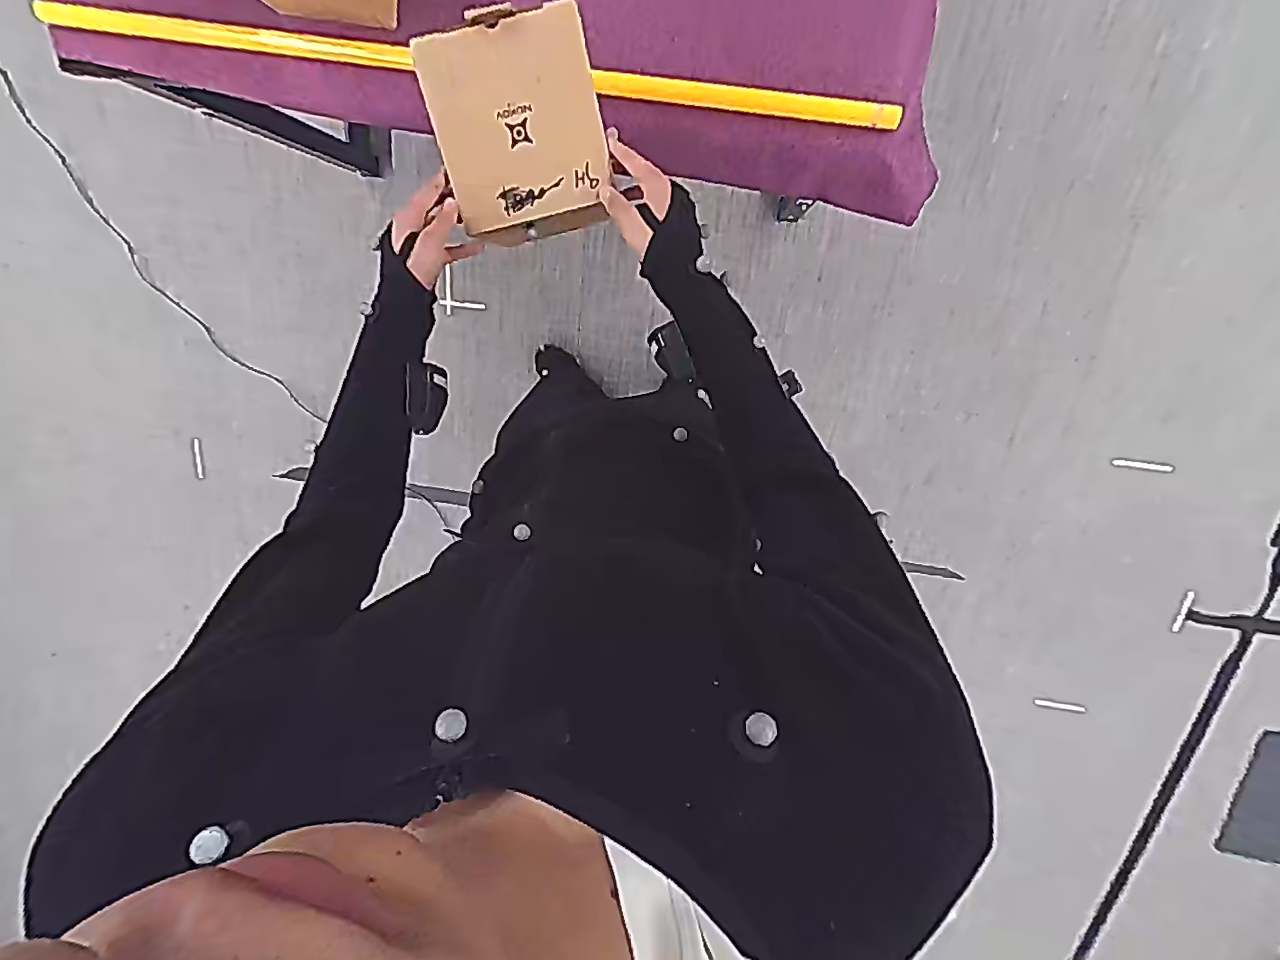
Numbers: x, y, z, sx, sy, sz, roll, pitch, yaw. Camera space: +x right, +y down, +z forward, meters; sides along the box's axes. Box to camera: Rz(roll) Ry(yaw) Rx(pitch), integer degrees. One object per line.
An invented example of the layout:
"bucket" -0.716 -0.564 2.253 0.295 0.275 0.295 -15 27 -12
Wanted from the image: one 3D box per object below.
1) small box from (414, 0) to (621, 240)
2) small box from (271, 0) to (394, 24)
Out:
"small box" -0.118 -0.383 0.603 0.168 0.176 0.179 -12 109 3
"small box" -0.405 -0.682 0.639 0.179 0.176 0.168 11 108 4
